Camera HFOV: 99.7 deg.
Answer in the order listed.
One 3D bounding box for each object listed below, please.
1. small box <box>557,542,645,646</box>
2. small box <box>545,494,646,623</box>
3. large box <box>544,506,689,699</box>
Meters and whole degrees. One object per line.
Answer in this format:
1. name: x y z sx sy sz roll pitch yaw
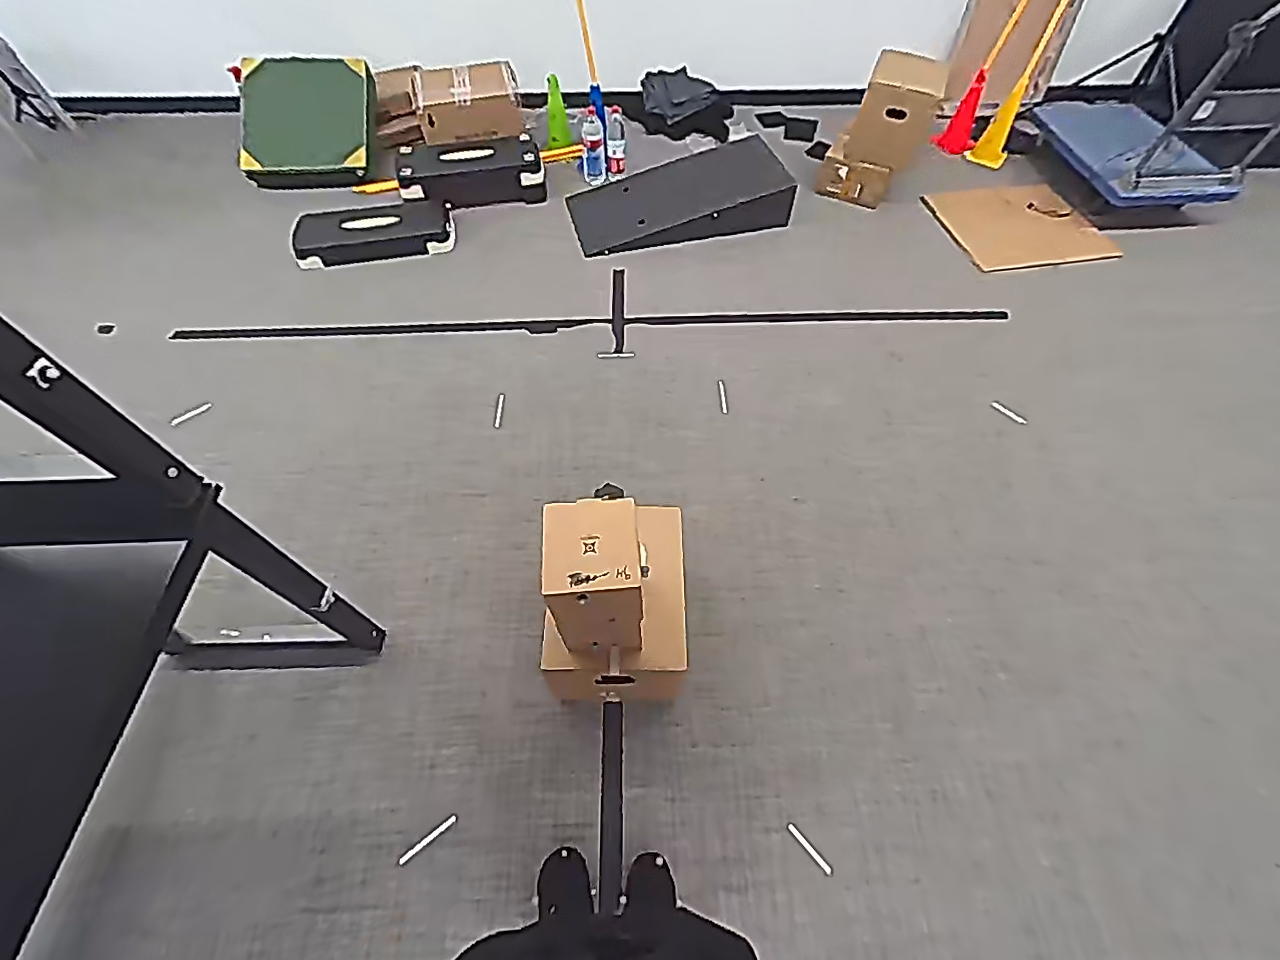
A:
1. small box: -0.074 0.235 1.129 0.168 0.176 0.179 -1 57 1
2. small box: -0.076 0.146 0.991 0.168 0.176 0.179 -4 56 0
3. large box: -0.051 0.314 1.370 0.320 0.320 0.408 1 56 -1
